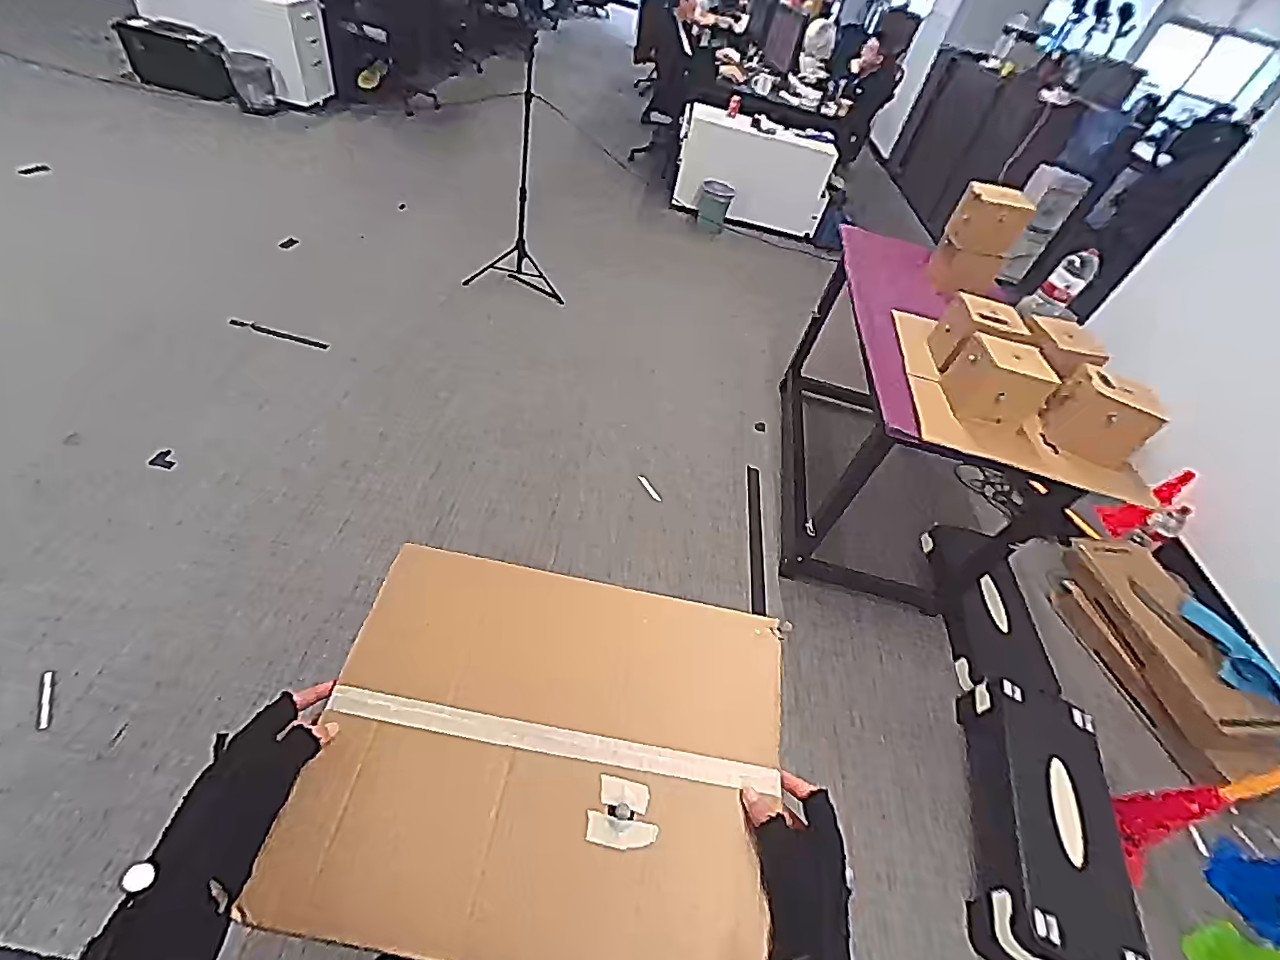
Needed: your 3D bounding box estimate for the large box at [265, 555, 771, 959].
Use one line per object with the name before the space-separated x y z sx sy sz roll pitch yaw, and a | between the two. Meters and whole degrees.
large box | -0.095 0.323 0.622 0.408 0.320 0.320 12 55 -2
